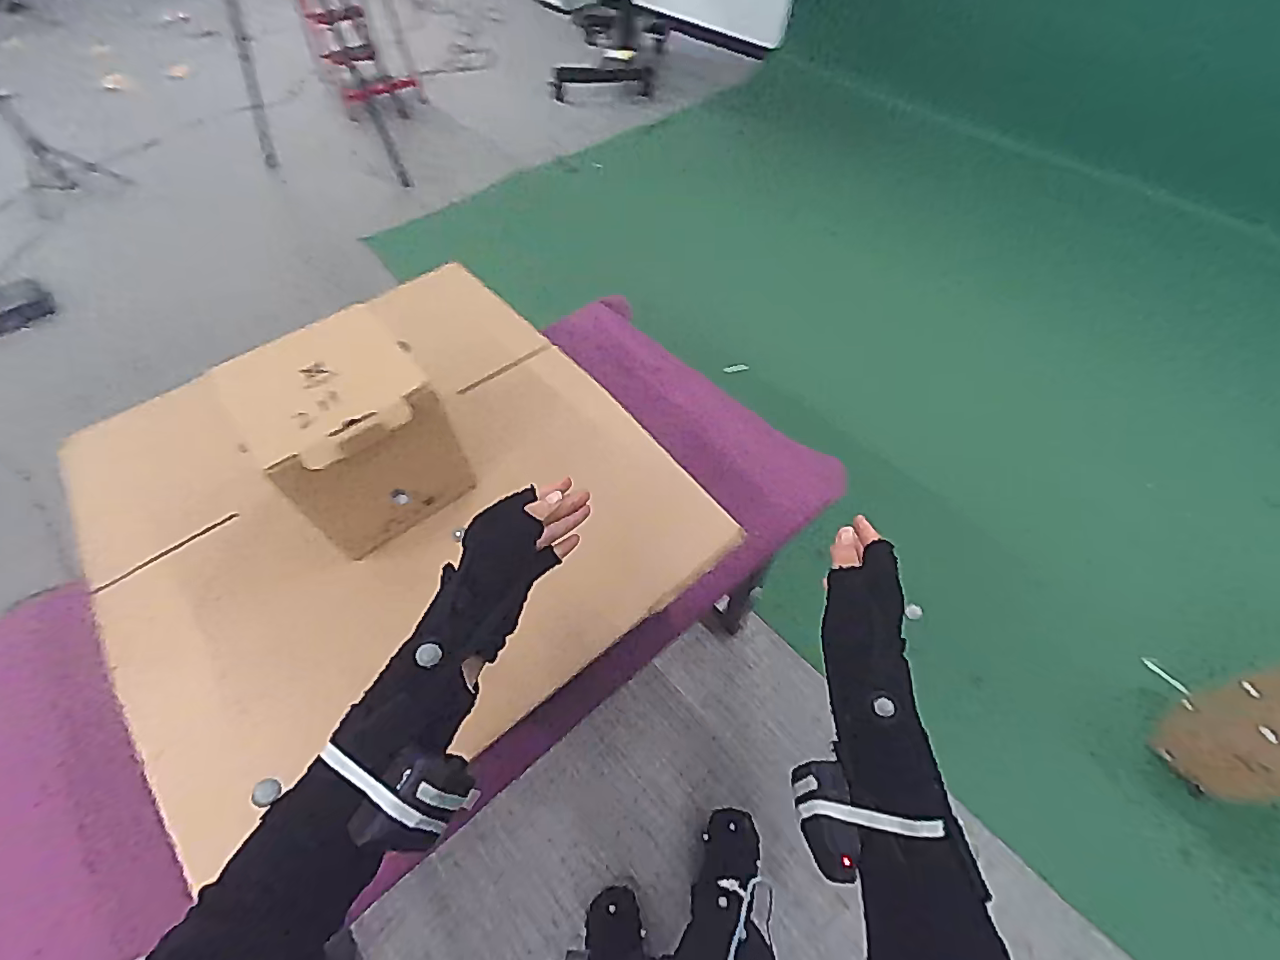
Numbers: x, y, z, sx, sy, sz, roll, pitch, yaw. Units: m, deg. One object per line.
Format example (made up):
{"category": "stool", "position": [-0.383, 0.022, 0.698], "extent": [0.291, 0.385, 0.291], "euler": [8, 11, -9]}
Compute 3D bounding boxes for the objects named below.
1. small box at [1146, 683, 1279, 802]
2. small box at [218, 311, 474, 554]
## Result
{"category": "small box", "position": [1.331, 0.608, 1.241], "extent": [0.179, 0.176, 0.168], "euler": [-34, 62, -22]}
{"category": "small box", "position": [-0.316, -0.050, 0.609], "extent": [0.168, 0.176, 0.179], "euler": [-35, 61, -21]}
